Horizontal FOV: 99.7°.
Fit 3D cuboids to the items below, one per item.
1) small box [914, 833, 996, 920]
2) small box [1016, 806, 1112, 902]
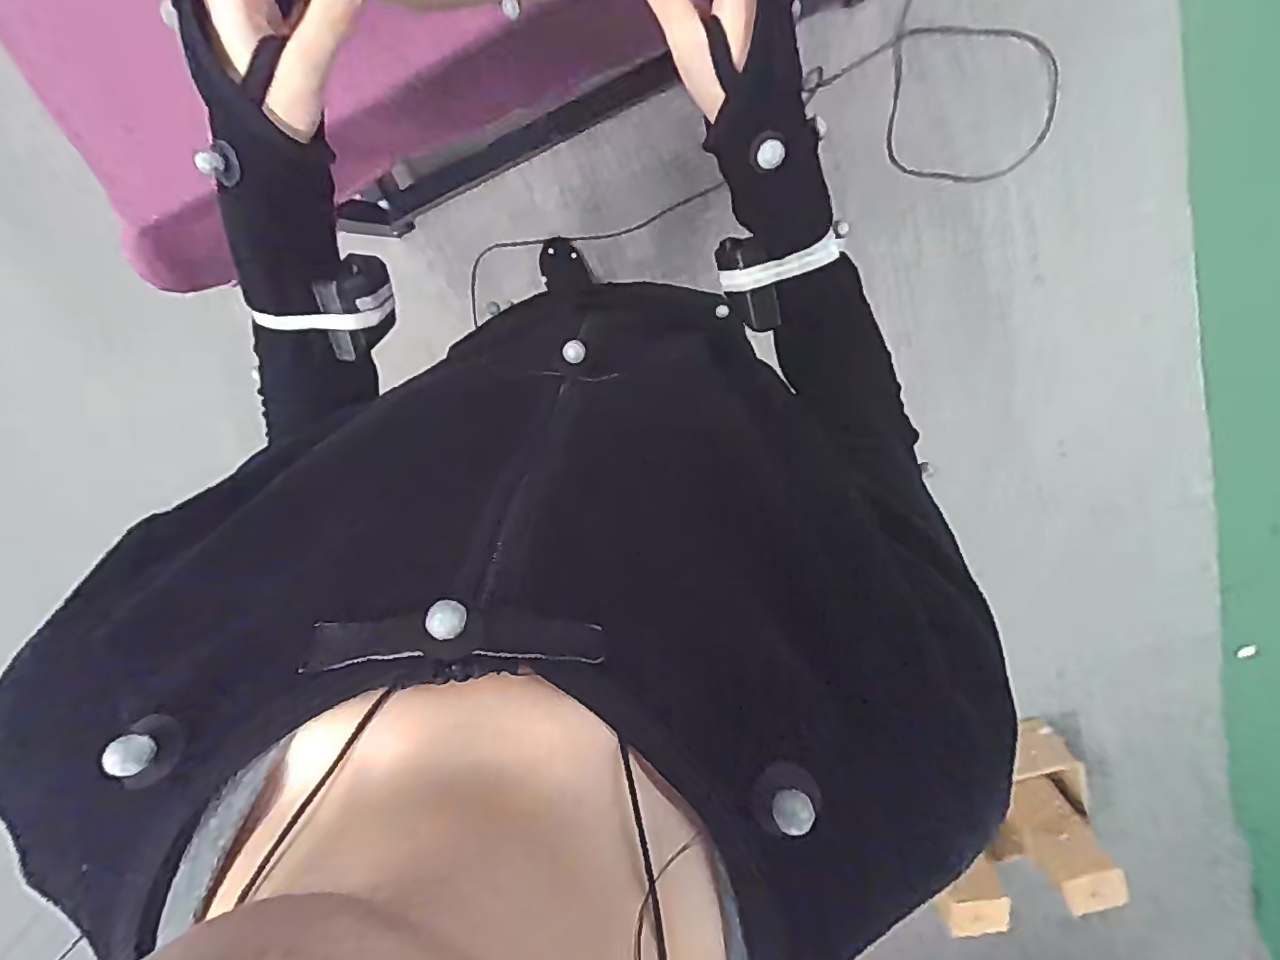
[{"bbox_3d":[1.019,1.285,1.761,0.179,0.176,0.168,-10,111,5],"label":"small box"},{"bbox_3d":[1.334,1.176,1.707,0.168,0.176,0.179,-23,109,9],"label":"small box"}]
